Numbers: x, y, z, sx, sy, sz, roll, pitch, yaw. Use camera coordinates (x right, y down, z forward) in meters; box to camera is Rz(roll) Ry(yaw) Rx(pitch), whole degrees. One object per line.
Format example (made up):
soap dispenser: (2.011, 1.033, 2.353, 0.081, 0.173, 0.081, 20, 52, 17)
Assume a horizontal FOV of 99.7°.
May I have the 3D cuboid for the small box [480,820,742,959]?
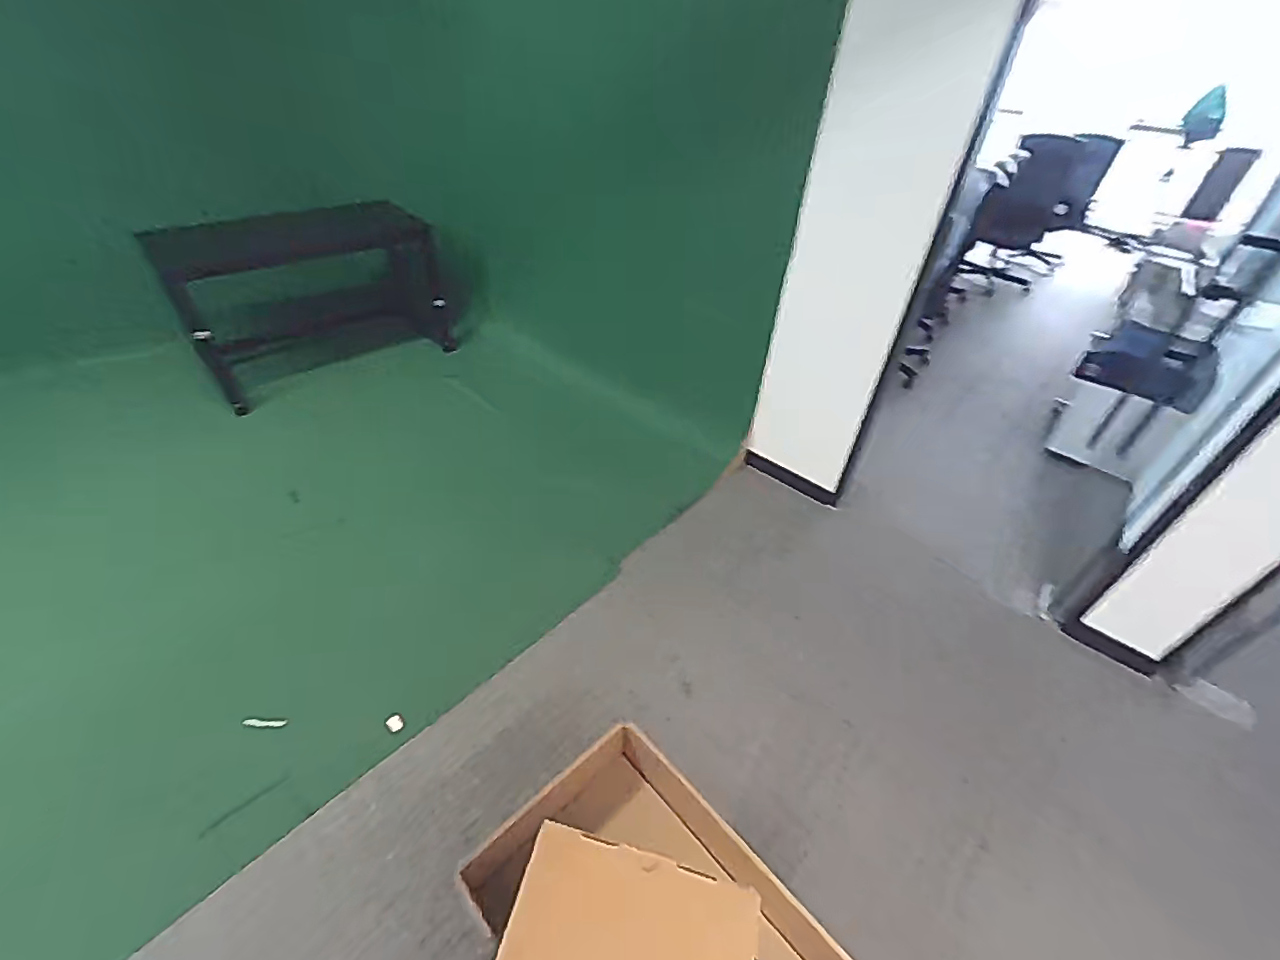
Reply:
small box: (-0.029, 0.388, 0.392, 0.168, 0.176, 0.179, 12, 44, 8)
